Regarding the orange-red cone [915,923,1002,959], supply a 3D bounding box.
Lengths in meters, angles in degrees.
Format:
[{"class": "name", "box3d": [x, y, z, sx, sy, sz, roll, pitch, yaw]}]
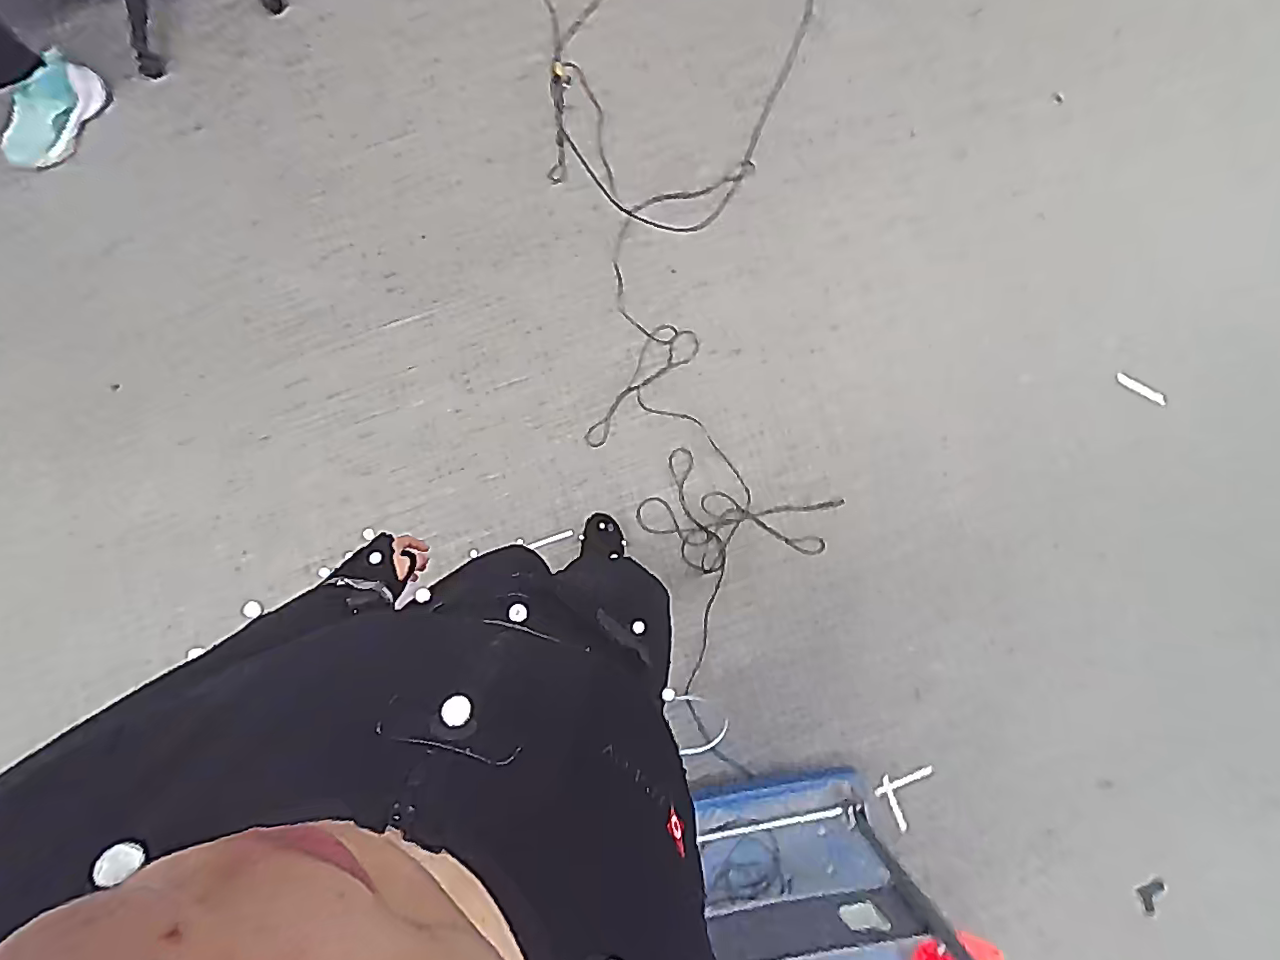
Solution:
[{"class": "orange-red cone", "box3d": [0.751, 1.188, 1.132, 0.198, 0.360, 0.199, 26, 87, 2]}]
